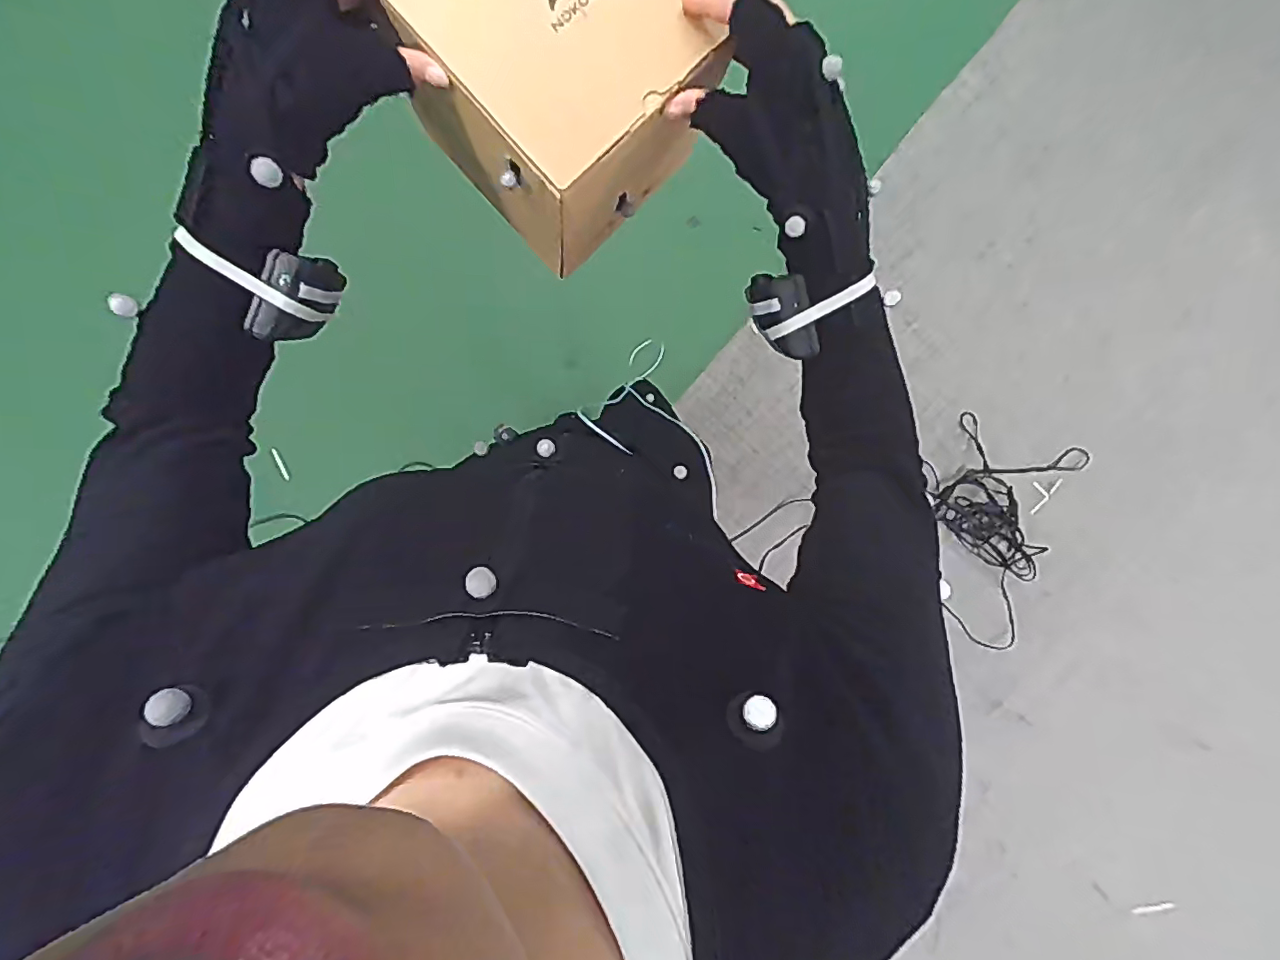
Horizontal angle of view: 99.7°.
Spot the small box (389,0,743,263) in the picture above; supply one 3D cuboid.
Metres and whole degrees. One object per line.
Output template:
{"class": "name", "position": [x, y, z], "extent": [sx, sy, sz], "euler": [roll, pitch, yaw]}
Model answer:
{"class": "small box", "position": [-0.060, -0.303, 0.413], "extent": [0.168, 0.176, 0.179], "euler": [-45, 99, -4]}
